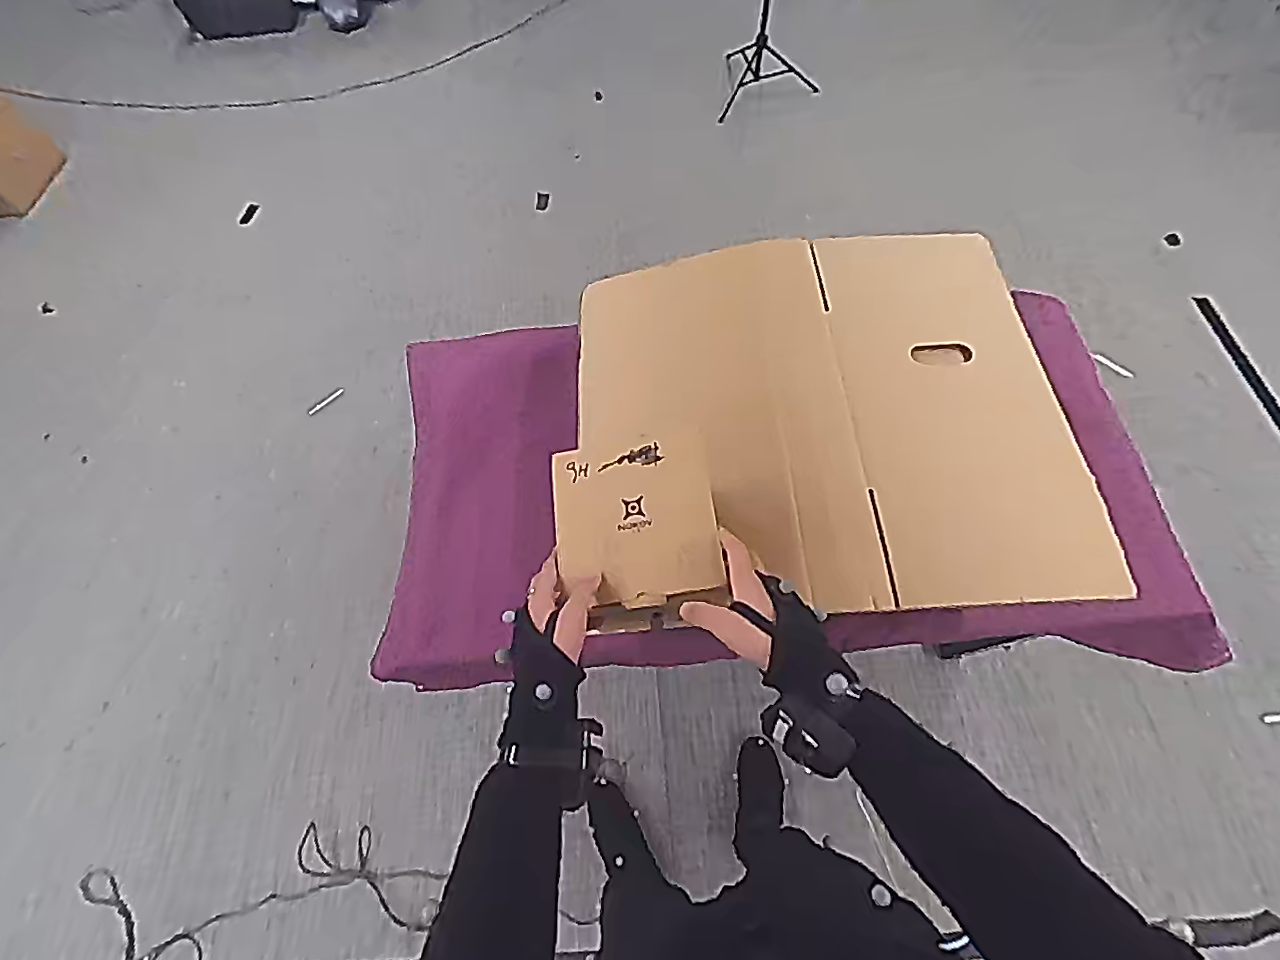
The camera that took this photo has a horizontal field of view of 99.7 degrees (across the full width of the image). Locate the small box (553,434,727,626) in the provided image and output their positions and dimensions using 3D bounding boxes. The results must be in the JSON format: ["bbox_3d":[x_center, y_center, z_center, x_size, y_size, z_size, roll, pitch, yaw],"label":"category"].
[{"bbox_3d":[0.006,0.070,0.629,0.168,0.176,0.179,-10,67,6],"label":"small box"}]
